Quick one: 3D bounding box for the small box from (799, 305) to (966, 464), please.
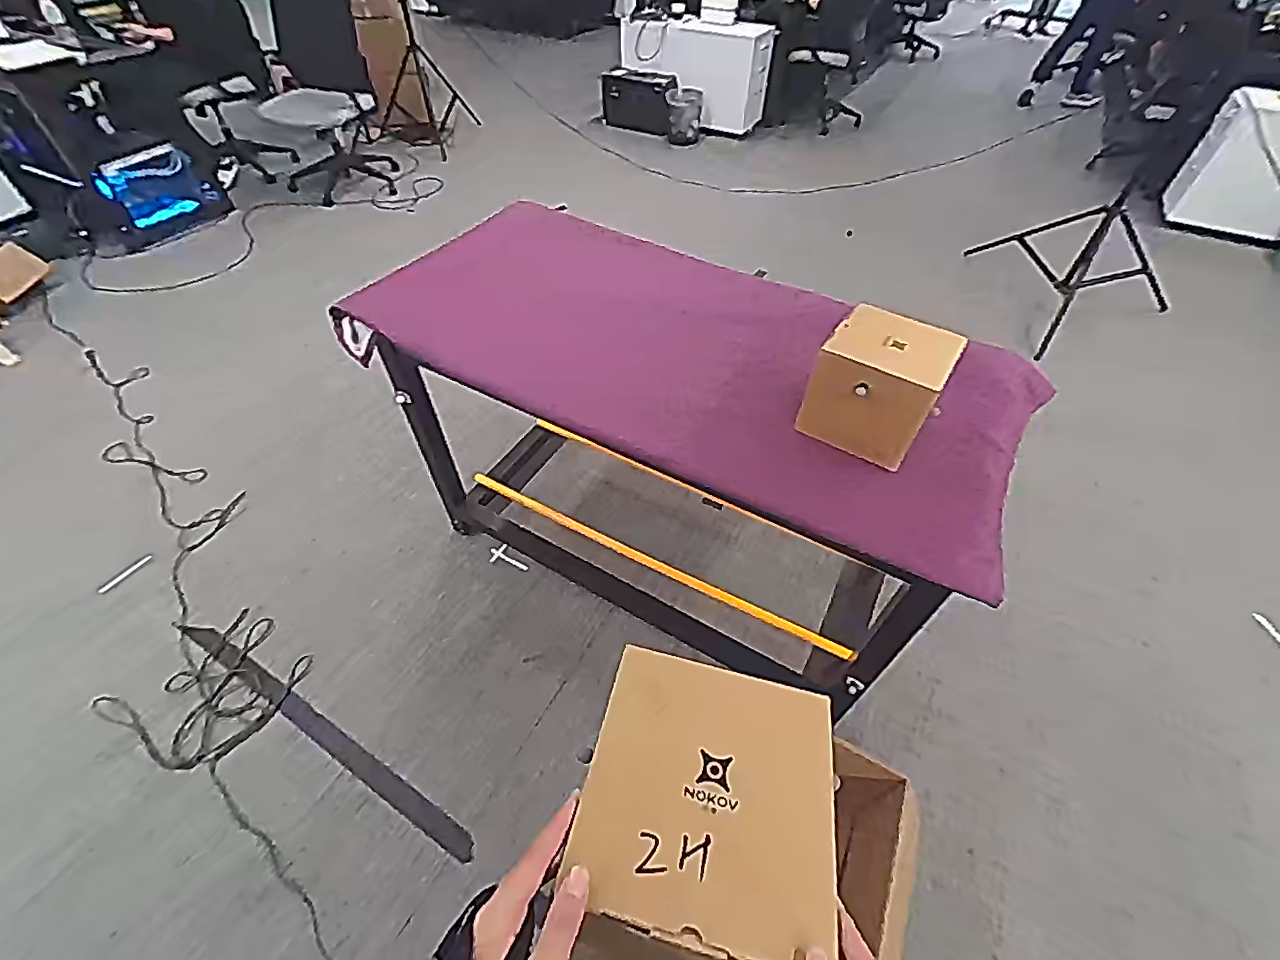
[{"bbox_3d":[0.386,-0.151,0.881,0.179,0.176,0.168,28,53,22],"label":"small box"}]

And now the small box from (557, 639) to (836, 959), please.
[{"bbox_3d":[0.041,0.260,0.418,0.168,0.176,0.179,12,41,8],"label":"small box"}]
